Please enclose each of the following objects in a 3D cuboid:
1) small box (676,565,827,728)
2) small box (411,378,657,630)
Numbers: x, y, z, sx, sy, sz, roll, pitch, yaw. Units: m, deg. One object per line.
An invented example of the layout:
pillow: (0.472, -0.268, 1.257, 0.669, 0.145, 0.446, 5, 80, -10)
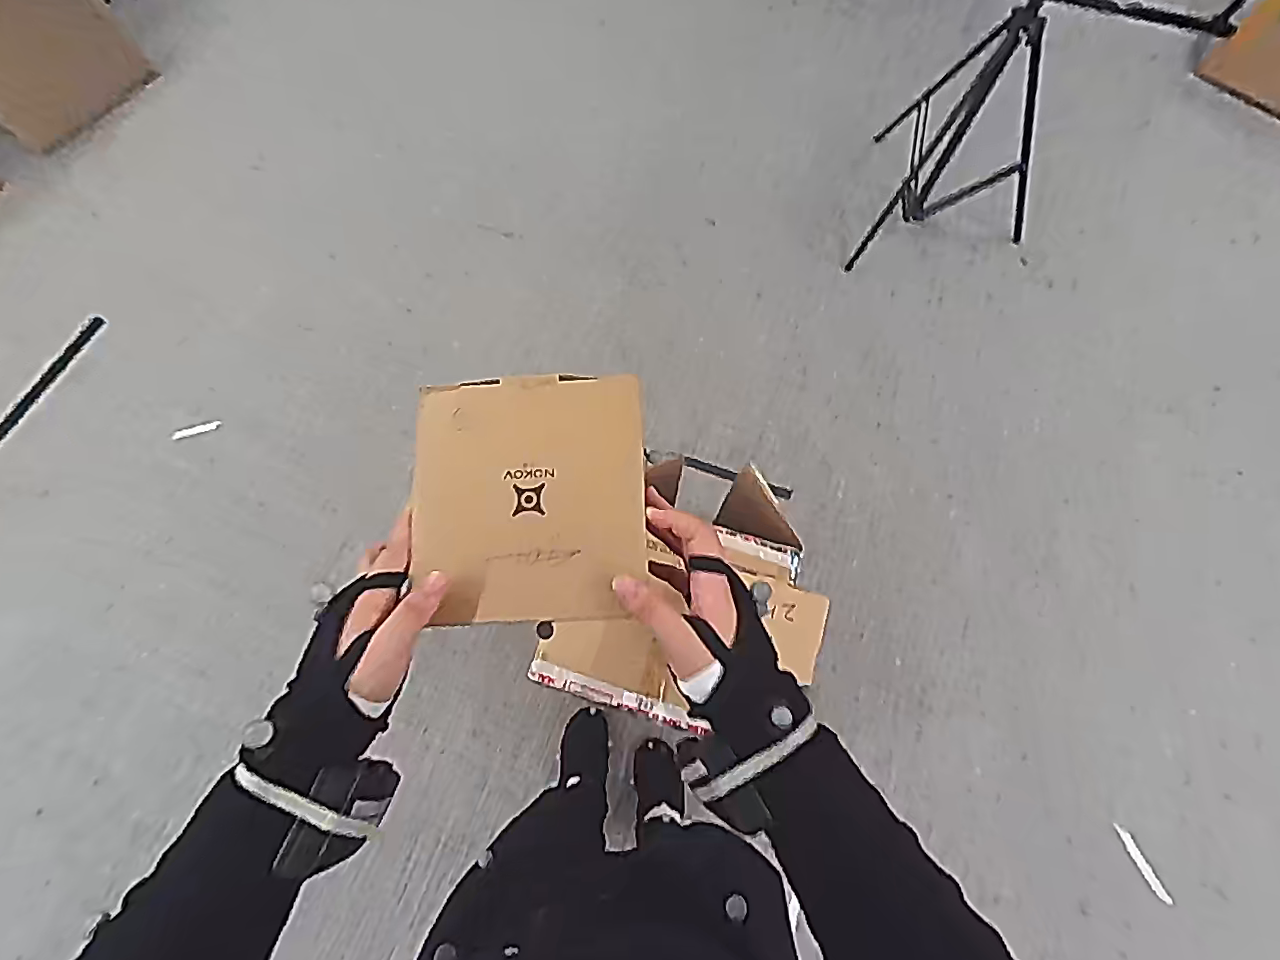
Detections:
small box: (0.156, 0.245, 0.809, 0.168, 0.176, 0.179, 17, 73, 4)
small box: (-0.073, 0.030, 0.455, 0.168, 0.176, 0.179, -3, 79, 1)
